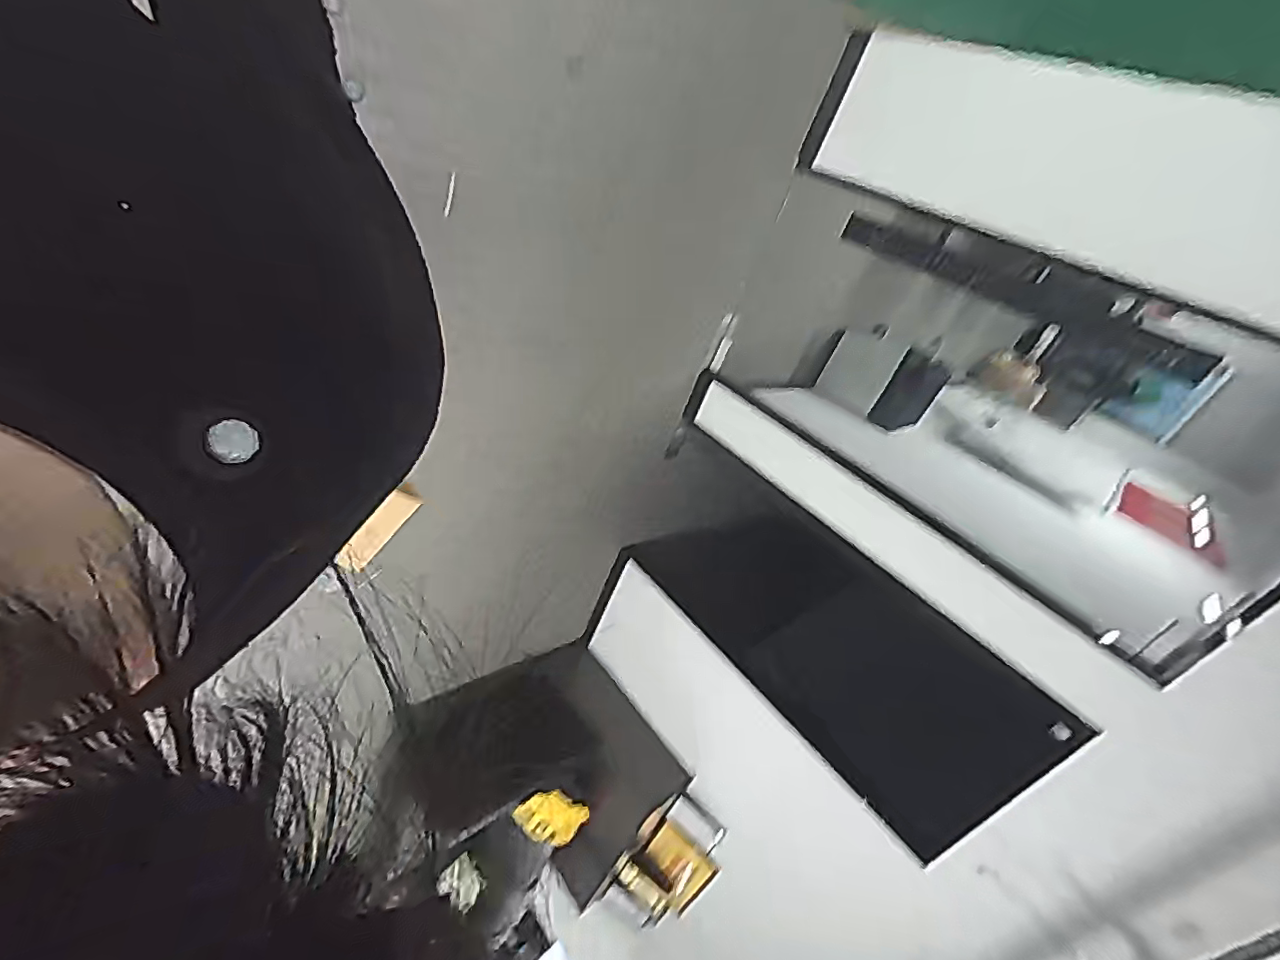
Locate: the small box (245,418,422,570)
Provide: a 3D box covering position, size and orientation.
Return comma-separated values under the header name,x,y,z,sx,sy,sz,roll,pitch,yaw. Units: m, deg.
name,x,y,z,sx,sy,sz,roll,pitch,yaw
small box,-0.514,0.022,0.906,0.168,0.176,0.179,-46,149,2
